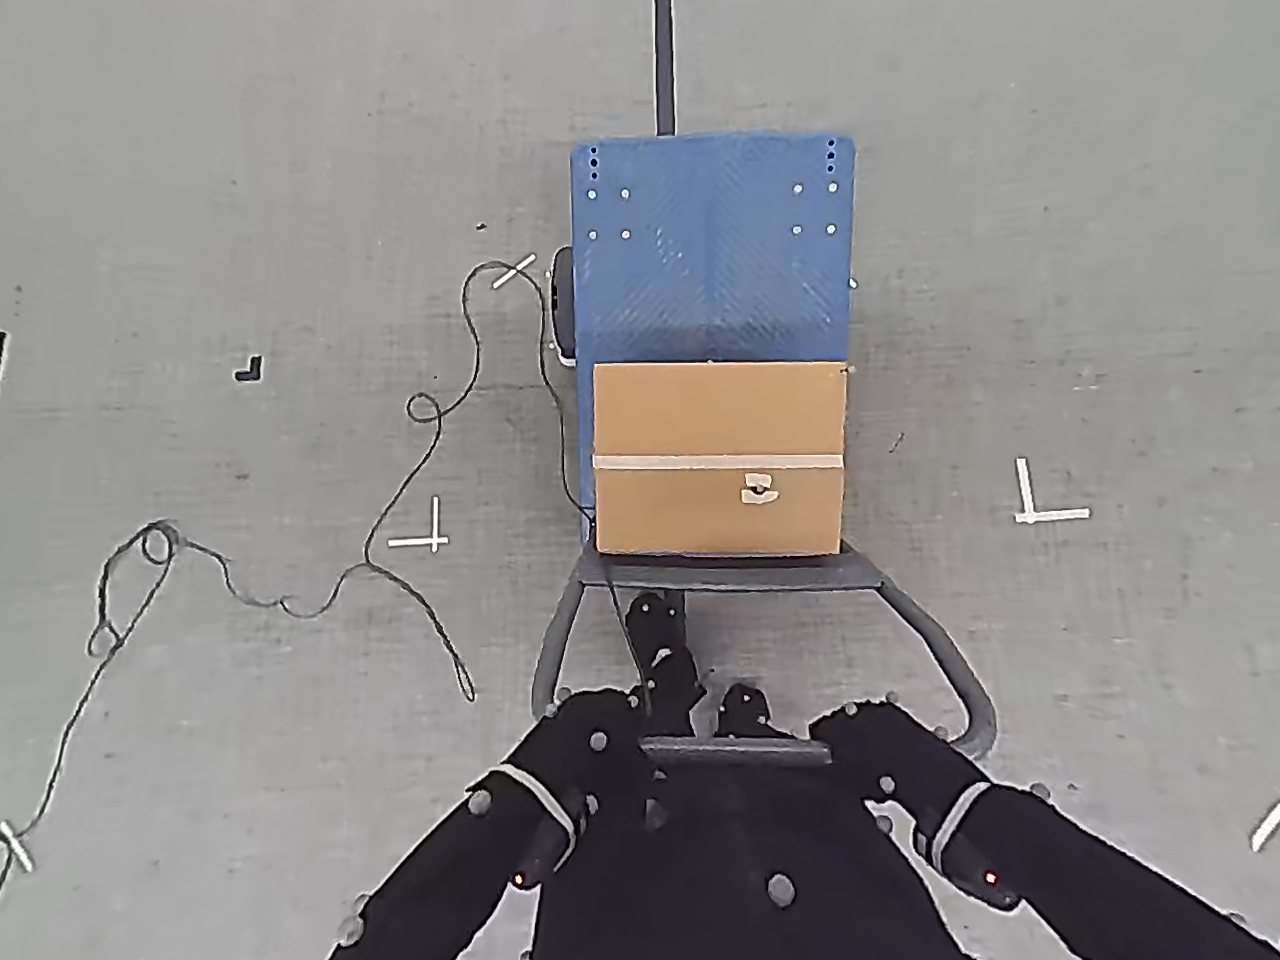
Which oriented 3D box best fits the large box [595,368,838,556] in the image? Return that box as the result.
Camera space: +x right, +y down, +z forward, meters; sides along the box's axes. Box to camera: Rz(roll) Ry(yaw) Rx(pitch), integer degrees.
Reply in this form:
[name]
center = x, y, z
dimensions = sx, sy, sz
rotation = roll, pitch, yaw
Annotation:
[large box]
center = 0.129, -0.044, 1.050
dimensions = 0.408, 0.320, 0.320
rotation = 0, 98, 1
